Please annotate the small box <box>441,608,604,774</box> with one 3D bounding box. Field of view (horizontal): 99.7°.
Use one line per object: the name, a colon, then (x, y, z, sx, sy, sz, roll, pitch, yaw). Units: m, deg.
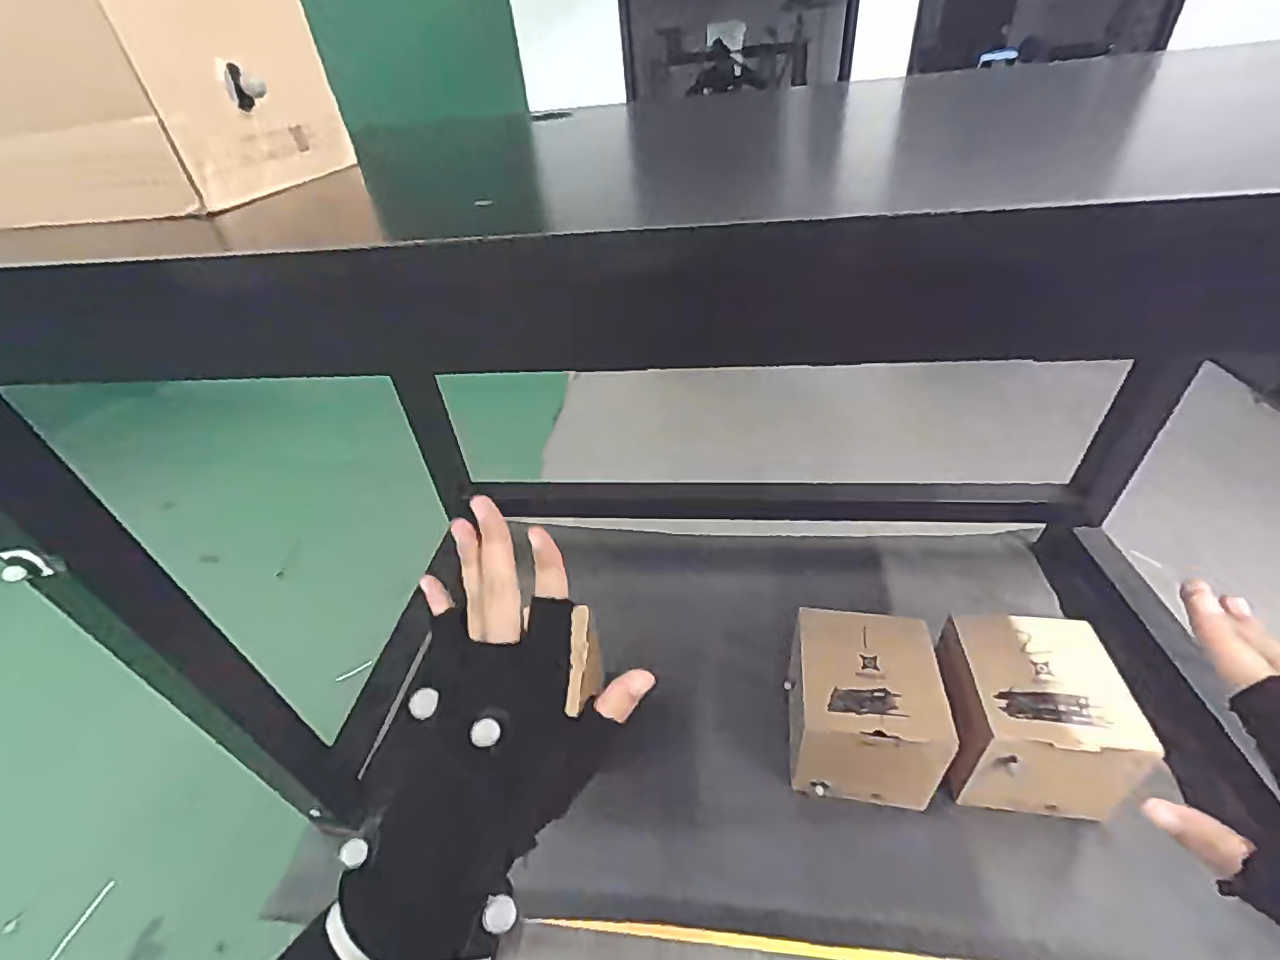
small box: (-0.153, 0.303, 0.776, 0.179, 0.176, 0.168, -2, 39, 4)
